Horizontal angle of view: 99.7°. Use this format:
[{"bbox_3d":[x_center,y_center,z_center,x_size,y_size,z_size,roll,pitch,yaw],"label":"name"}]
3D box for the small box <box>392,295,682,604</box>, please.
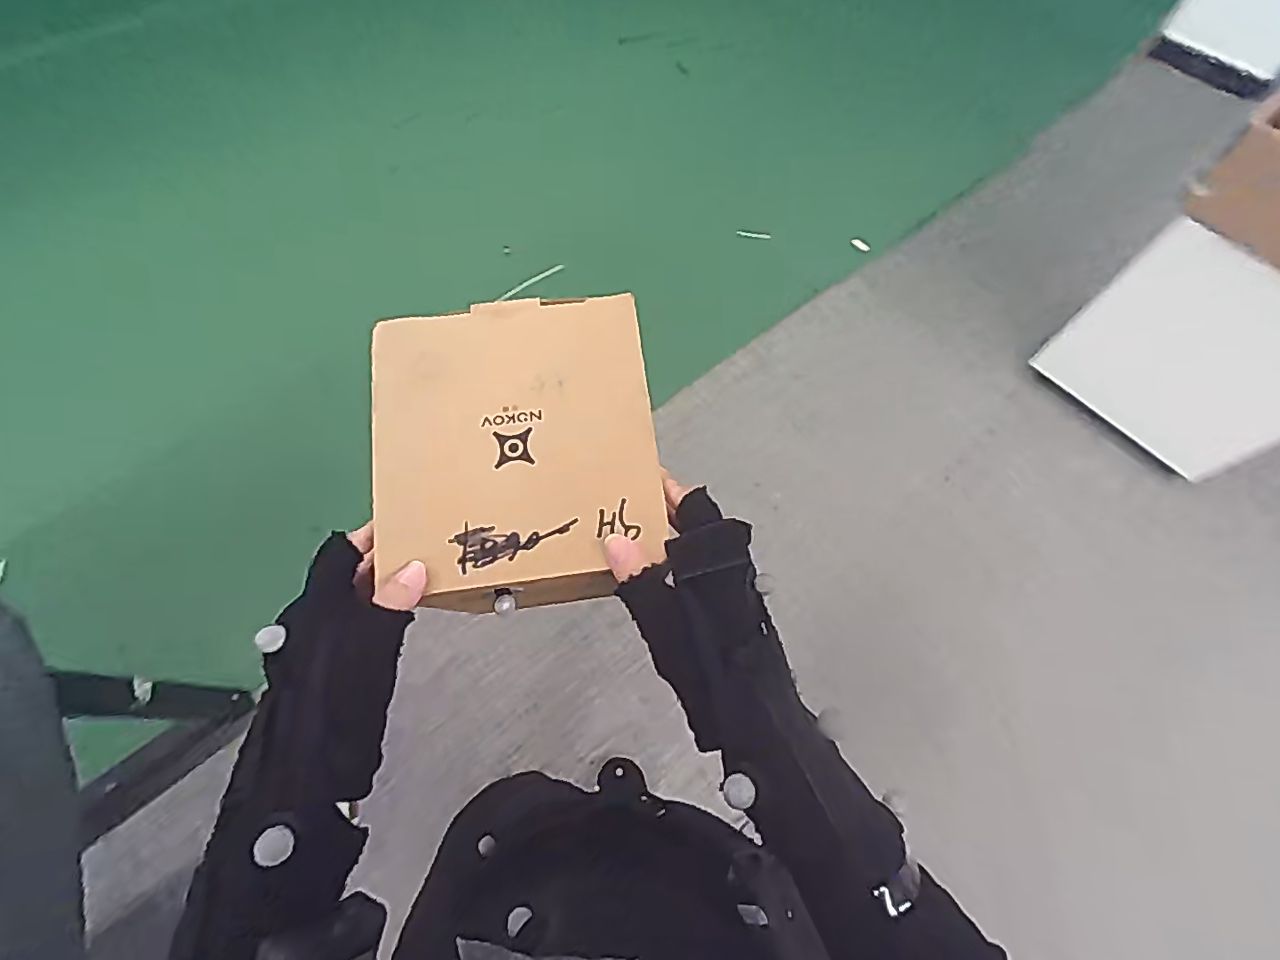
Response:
[{"bbox_3d":[-0.065,-0.008,0.403,0.168,0.176,0.179,-6,74,-1],"label":"small box"}]
